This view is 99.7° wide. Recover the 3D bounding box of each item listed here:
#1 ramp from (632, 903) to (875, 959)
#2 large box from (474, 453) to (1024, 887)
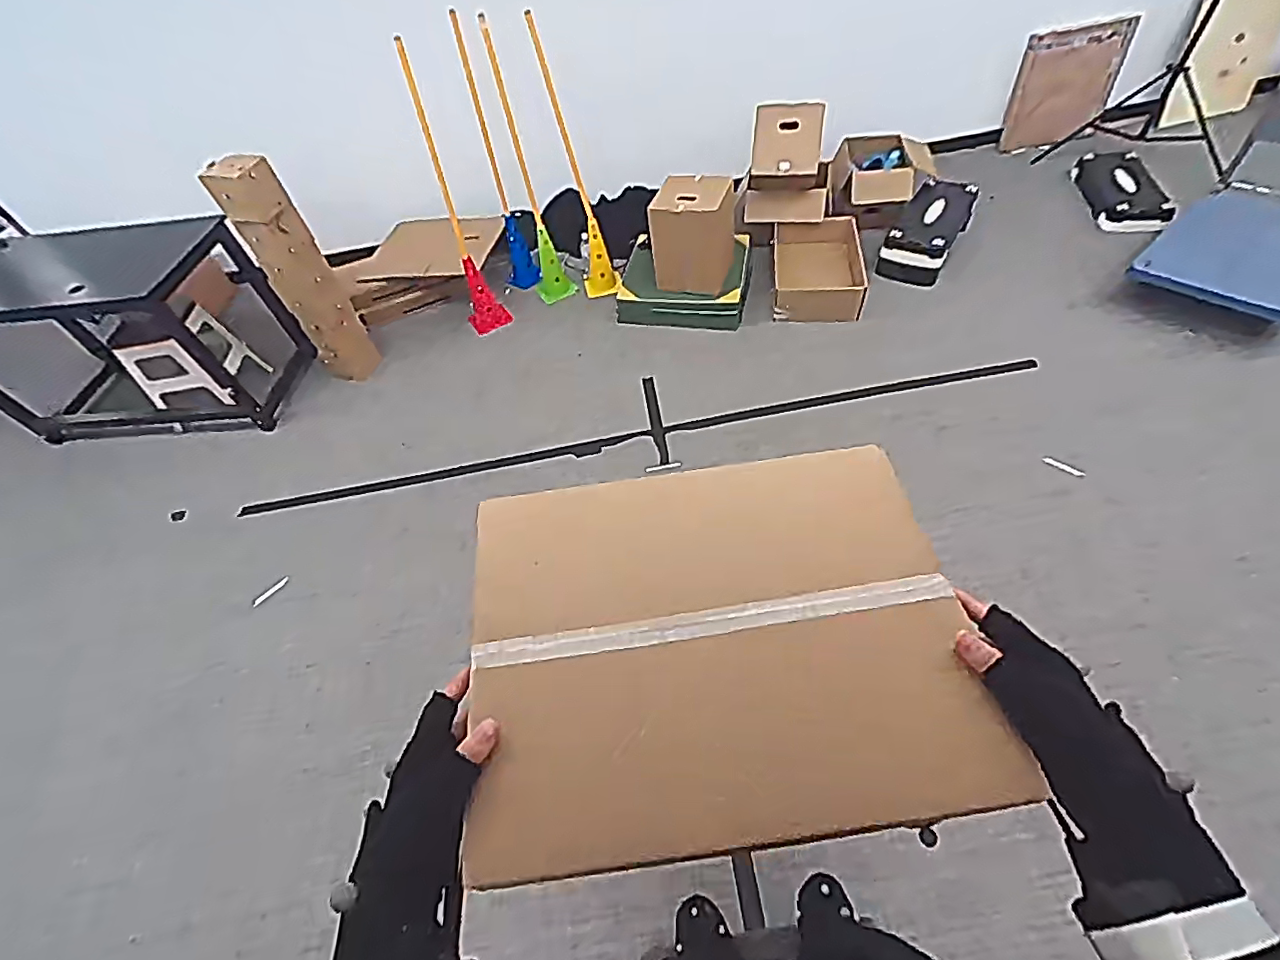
[{"bbox_3d":[0.298,1.360,0.905,0.509,0.206,0.991,-10,53,-2],"label":"ramp"},{"bbox_3d":[0.071,0.207,0.584,0.408,0.320,0.320,-8,55,-2],"label":"large box"}]
